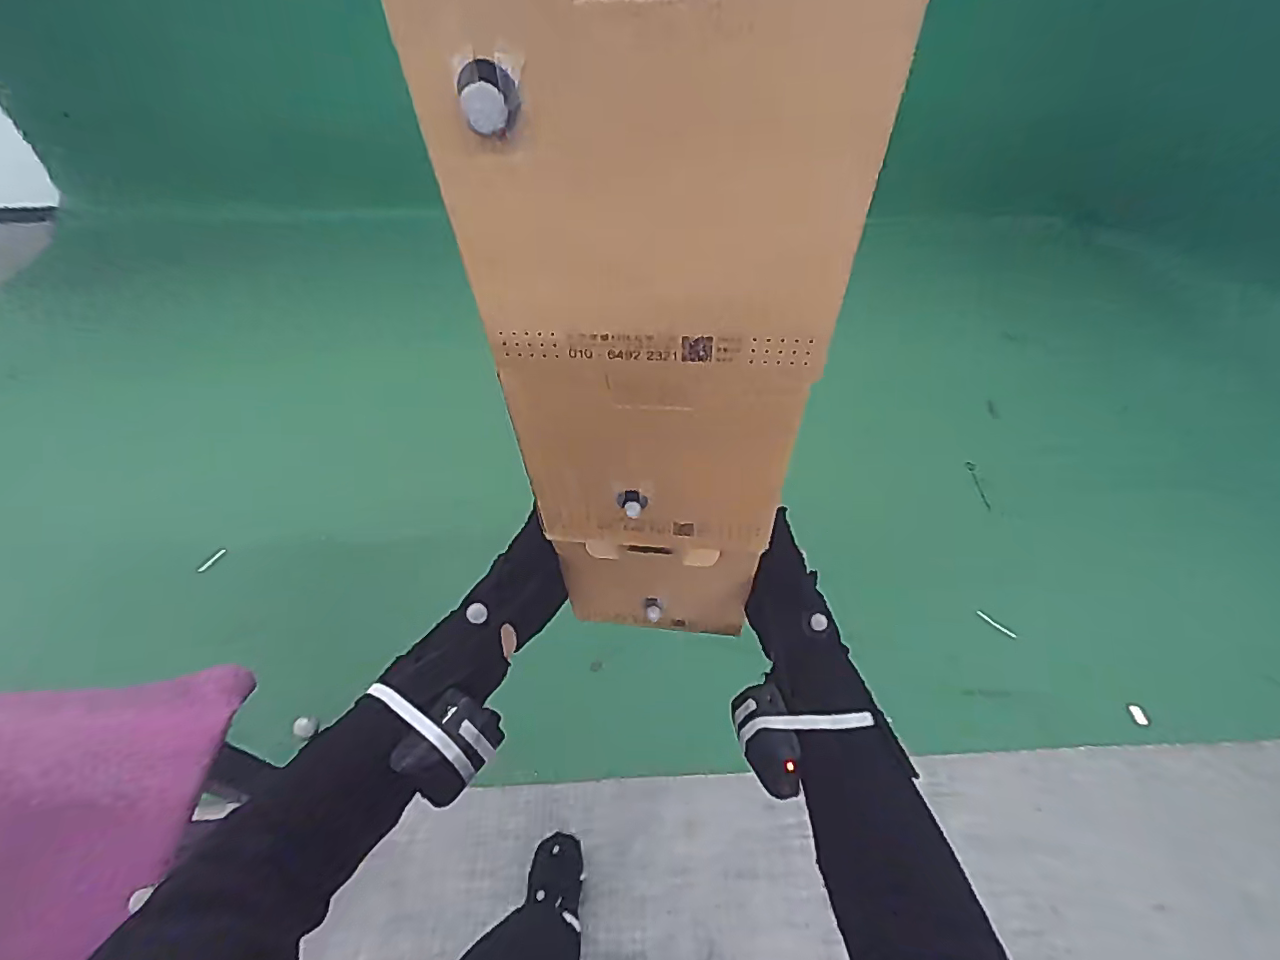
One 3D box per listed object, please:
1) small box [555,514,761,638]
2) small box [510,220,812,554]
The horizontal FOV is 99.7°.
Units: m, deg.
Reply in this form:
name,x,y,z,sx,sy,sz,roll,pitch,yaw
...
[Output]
name,x,y,z,sx,sy,sz,roll,pitch,yaw
small box,0.026,0.031,0.530,0.168,0.176,0.179,5,51,7
small box,0.019,-0.067,0.400,0.168,0.176,0.179,3,52,5
